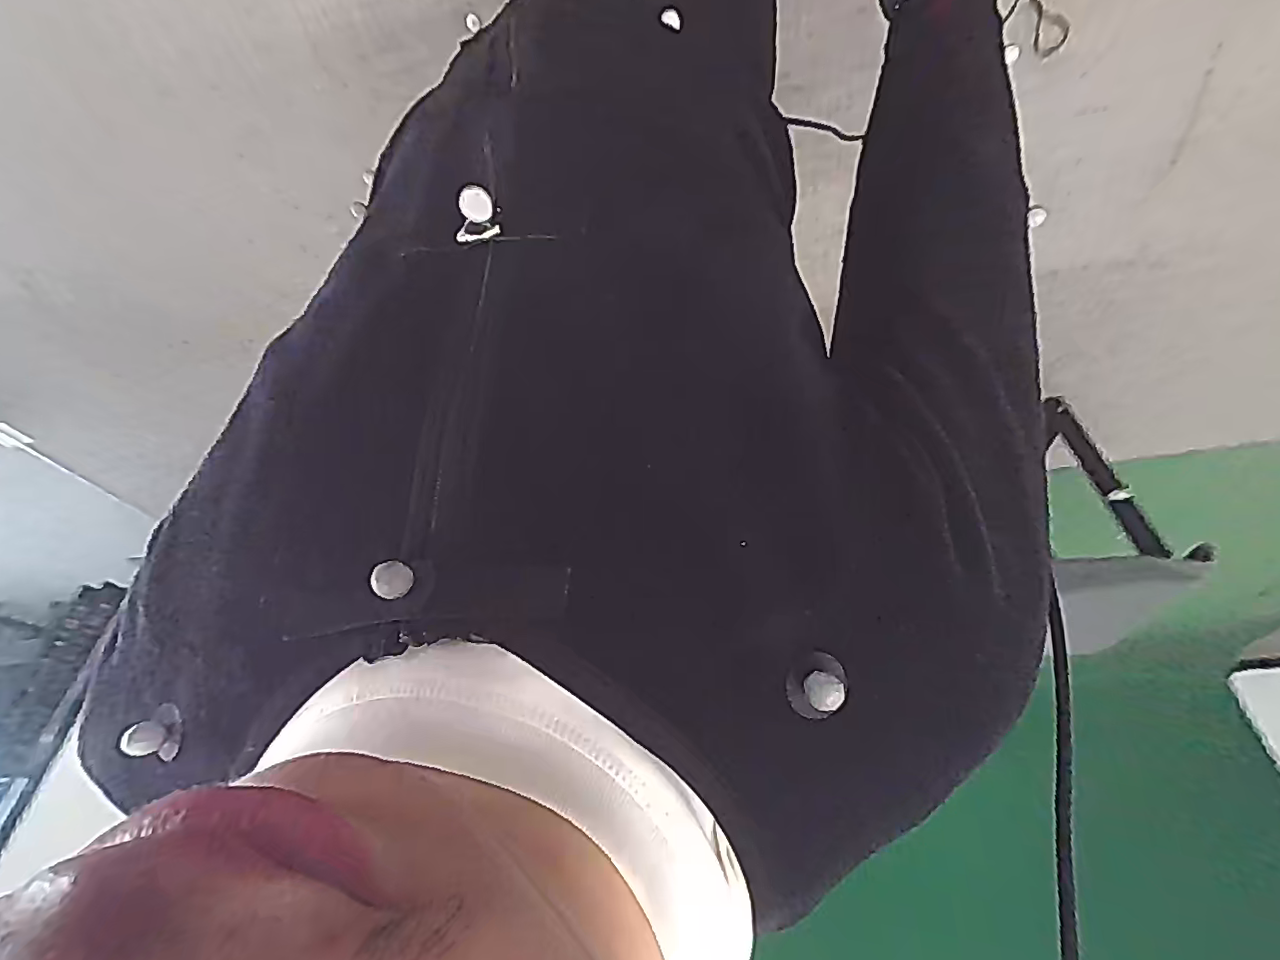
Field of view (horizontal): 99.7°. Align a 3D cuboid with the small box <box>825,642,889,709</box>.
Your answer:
[{"bbox_3d":[0.726,0.651,1.812,0.168,0.176,0.179,-12,142,16],"label":"small box"}]
